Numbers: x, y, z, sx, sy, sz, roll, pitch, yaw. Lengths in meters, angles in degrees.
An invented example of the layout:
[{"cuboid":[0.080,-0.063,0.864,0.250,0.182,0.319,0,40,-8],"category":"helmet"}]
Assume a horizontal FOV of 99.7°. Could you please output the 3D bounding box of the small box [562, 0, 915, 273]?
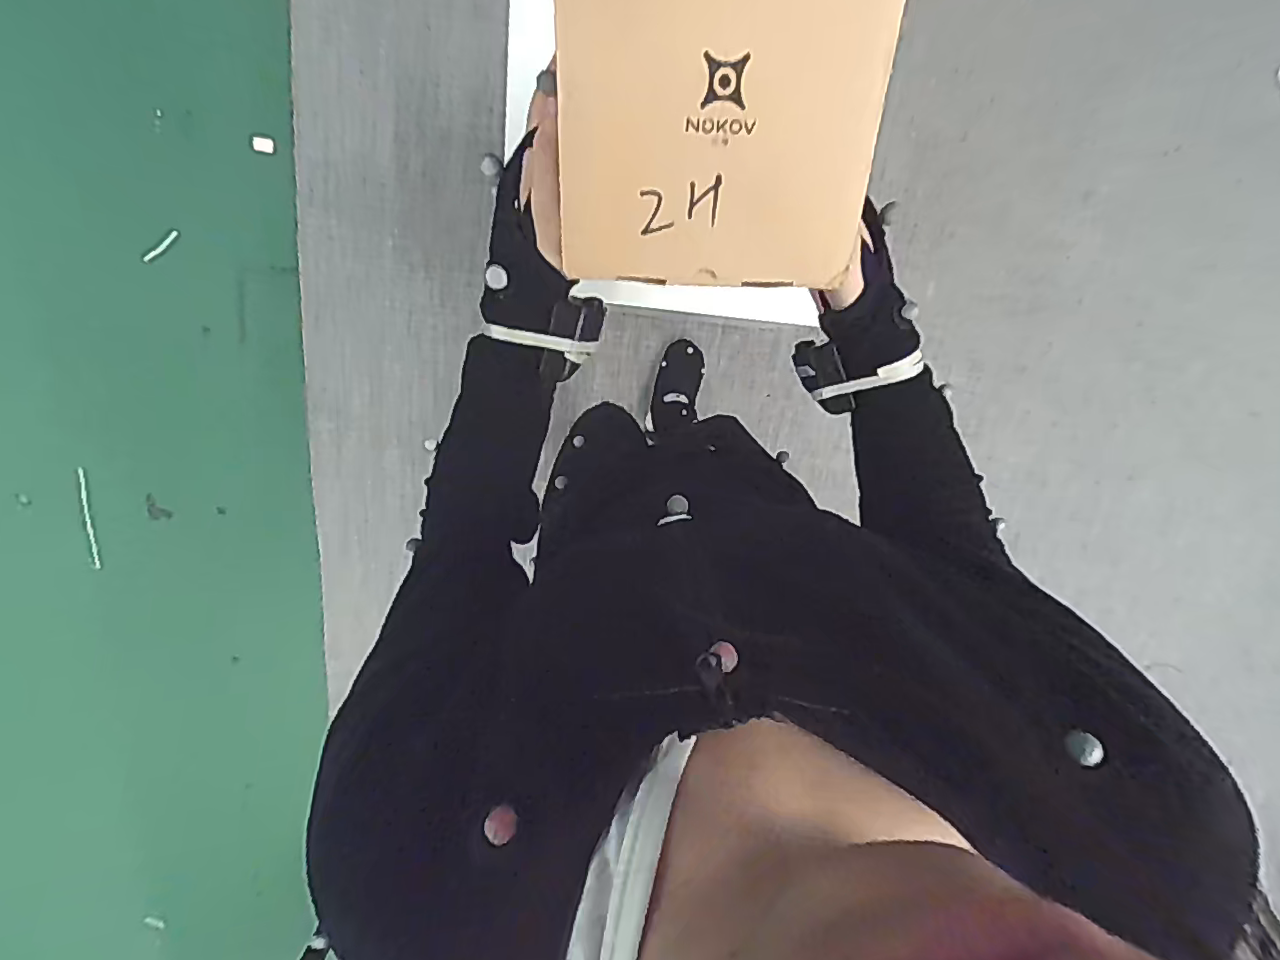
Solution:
[{"cuboid":[0.042,-0.231,0.332,0.168,0.176,0.179,2,117,-1],"category":"small box"}]
